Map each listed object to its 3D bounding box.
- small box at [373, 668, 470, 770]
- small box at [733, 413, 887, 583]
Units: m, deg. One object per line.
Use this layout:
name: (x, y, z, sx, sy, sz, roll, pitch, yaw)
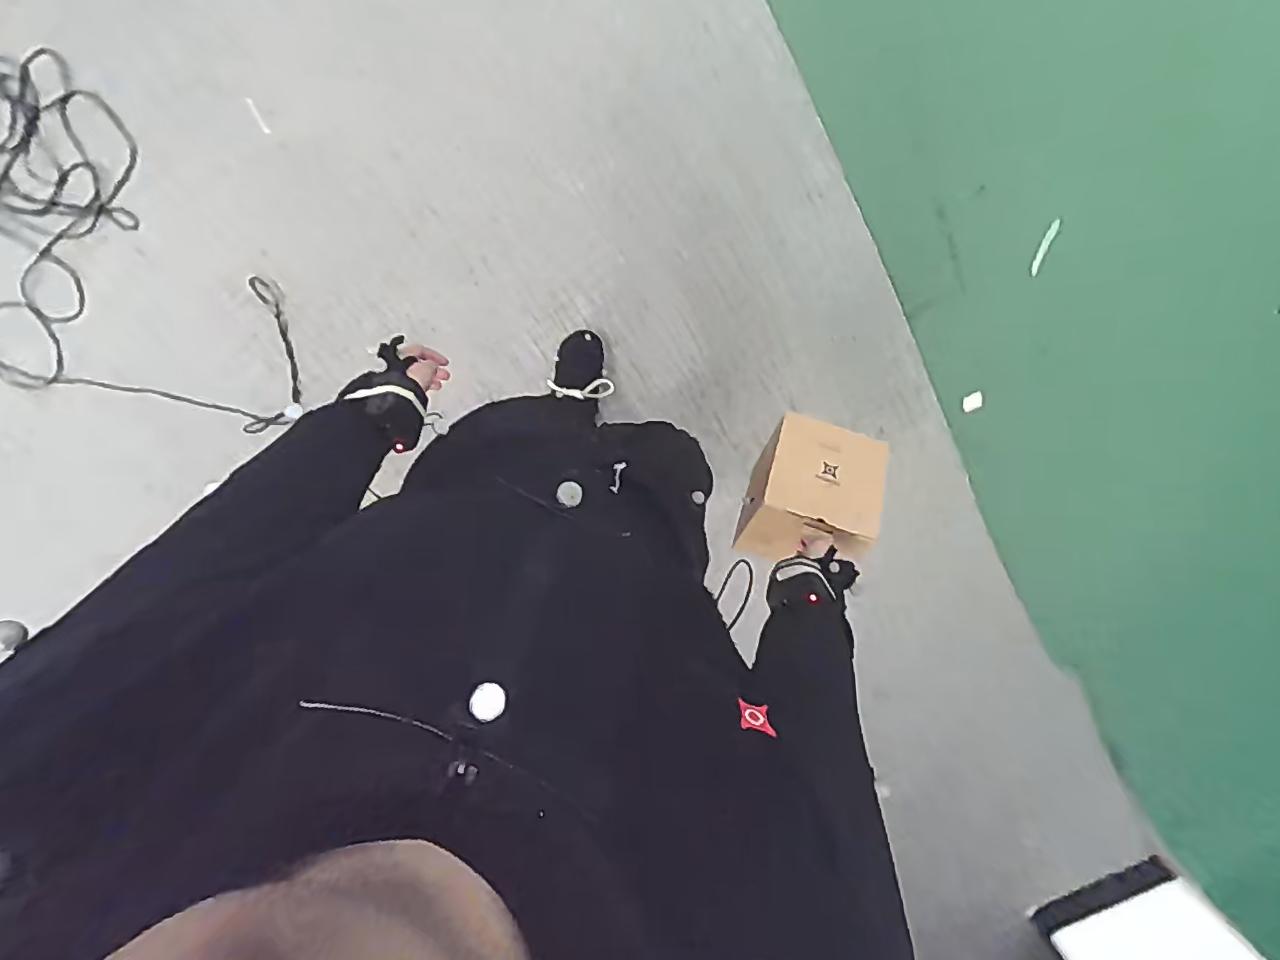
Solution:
small box: (-0.580, 0.641, 1.462, 0.168, 0.176, 0.179, -12, 107, 2)
small box: (0.253, 0.035, 0.829, 0.168, 0.179, 0.176, 19, 147, 3)
